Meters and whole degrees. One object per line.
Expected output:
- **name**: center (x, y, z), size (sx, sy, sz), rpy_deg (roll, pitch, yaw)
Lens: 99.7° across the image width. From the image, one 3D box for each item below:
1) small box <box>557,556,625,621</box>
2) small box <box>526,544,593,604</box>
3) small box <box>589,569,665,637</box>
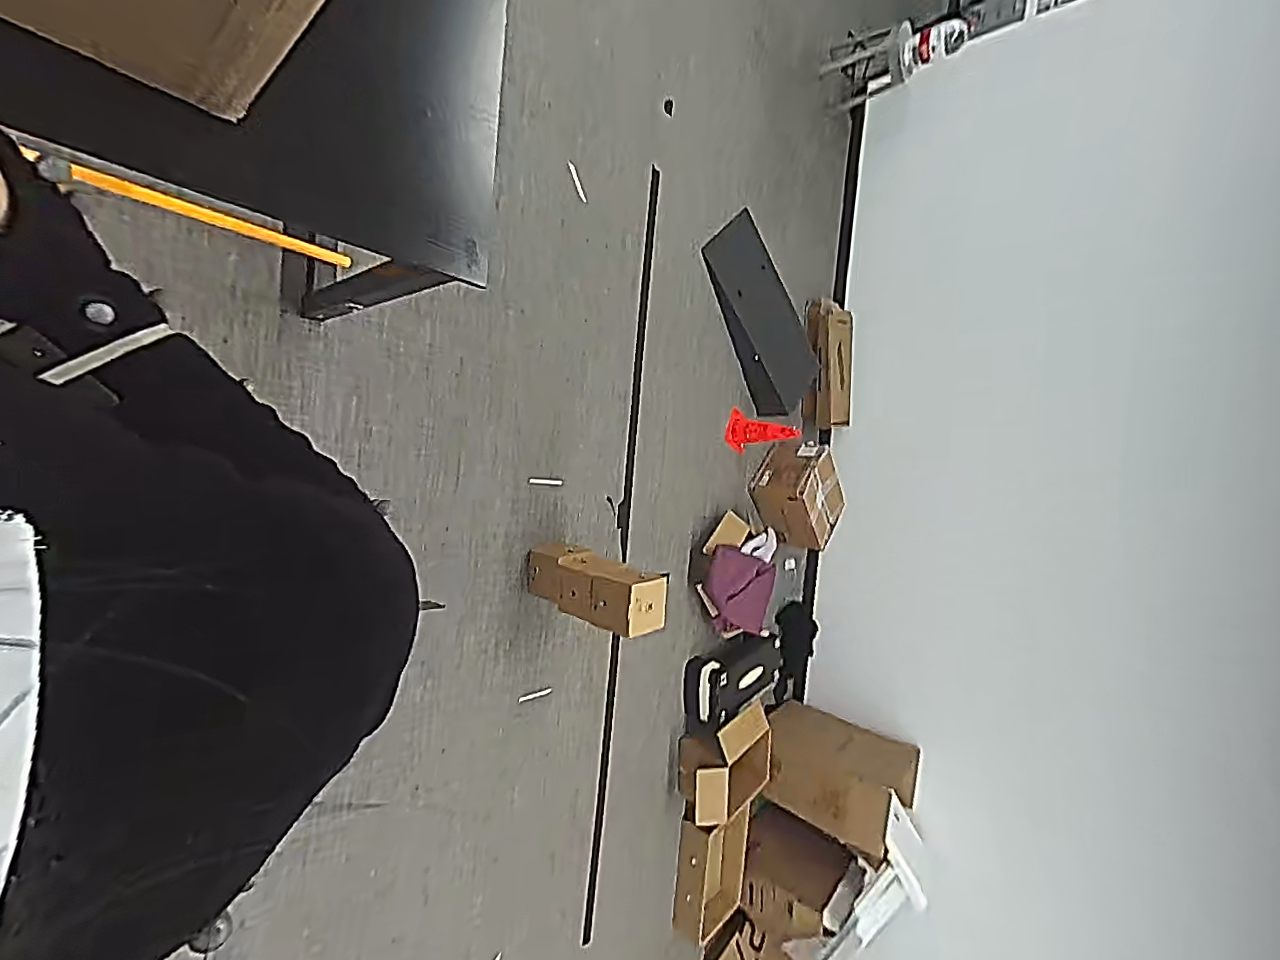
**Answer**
- **small box**: center (-0.168, 0.363, 1.837), size (0.179, 0.176, 0.168), rpy_deg (-7, 100, -48)
- **small box**: center (-0.289, 0.331, 1.944), size (0.179, 0.176, 0.168), rpy_deg (-5, 98, -47)
- **small box**: center (-0.042, 0.386, 1.733), size (0.179, 0.176, 0.168), rpy_deg (0, 94, -49)
